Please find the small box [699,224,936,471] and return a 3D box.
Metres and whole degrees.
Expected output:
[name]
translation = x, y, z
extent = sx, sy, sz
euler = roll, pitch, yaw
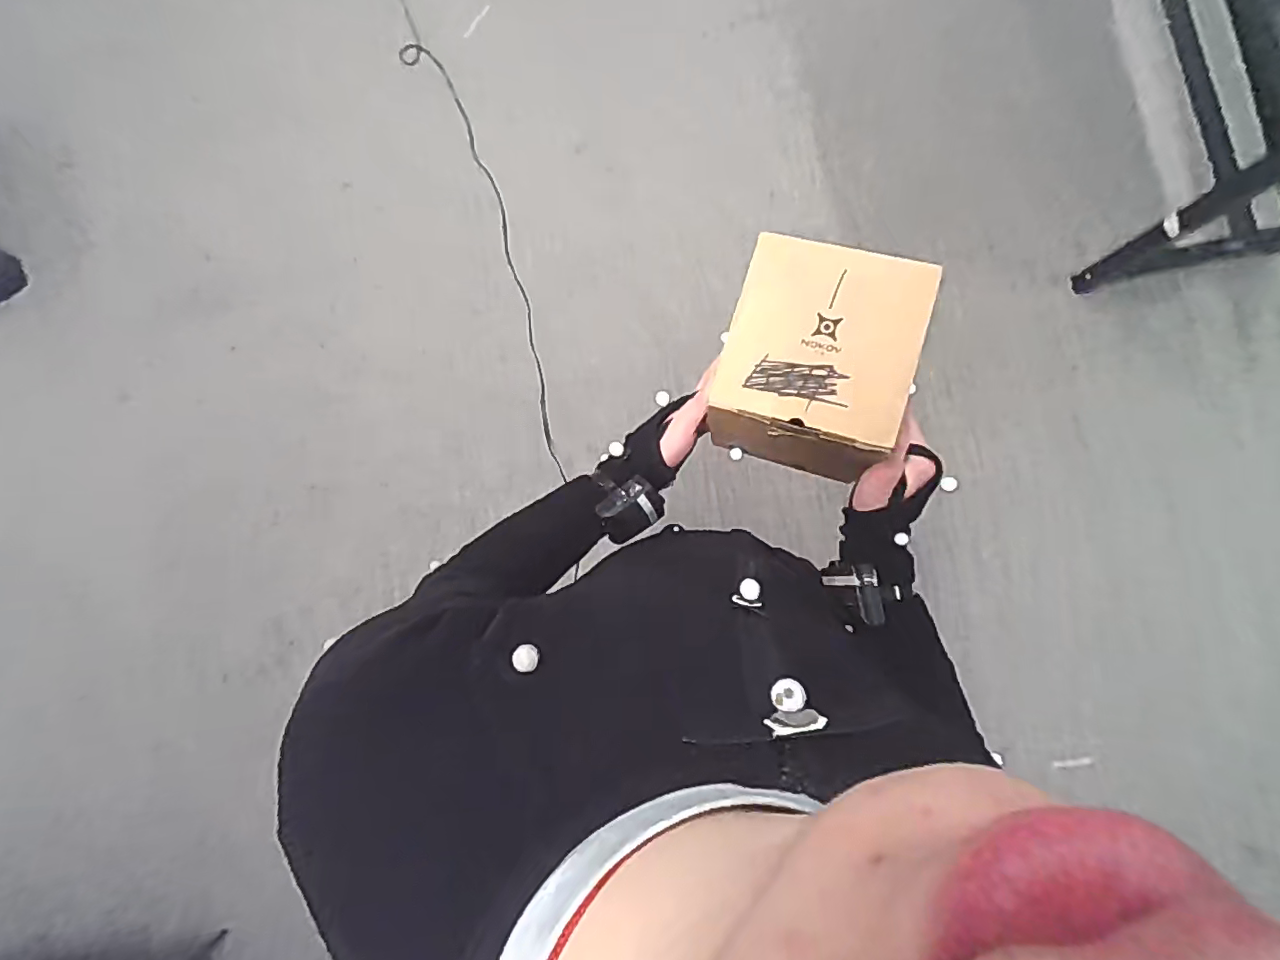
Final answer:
[small box]
translation = 0.168, -0.120, 0.552
extent = 0.168, 0.176, 0.179
euler = 17, 83, 12
